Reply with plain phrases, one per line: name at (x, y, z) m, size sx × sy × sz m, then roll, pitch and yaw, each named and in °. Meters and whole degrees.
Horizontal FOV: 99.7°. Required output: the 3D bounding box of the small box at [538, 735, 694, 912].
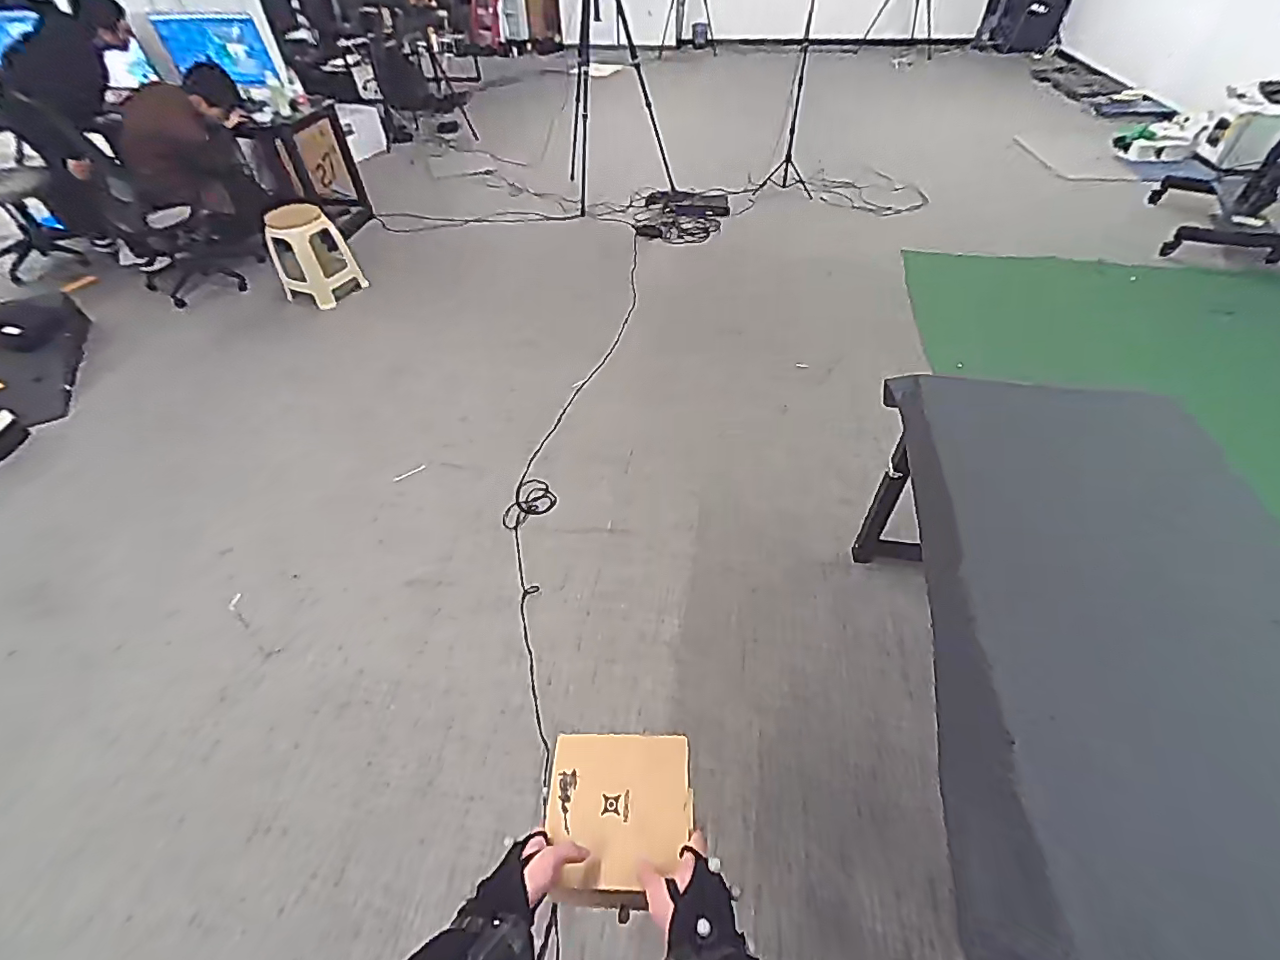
small box at (-0.020, 0.451, 0.709) m, size 0.179 × 0.176 × 0.168 m, roll -1°, pitch 46°, yaw 5°
